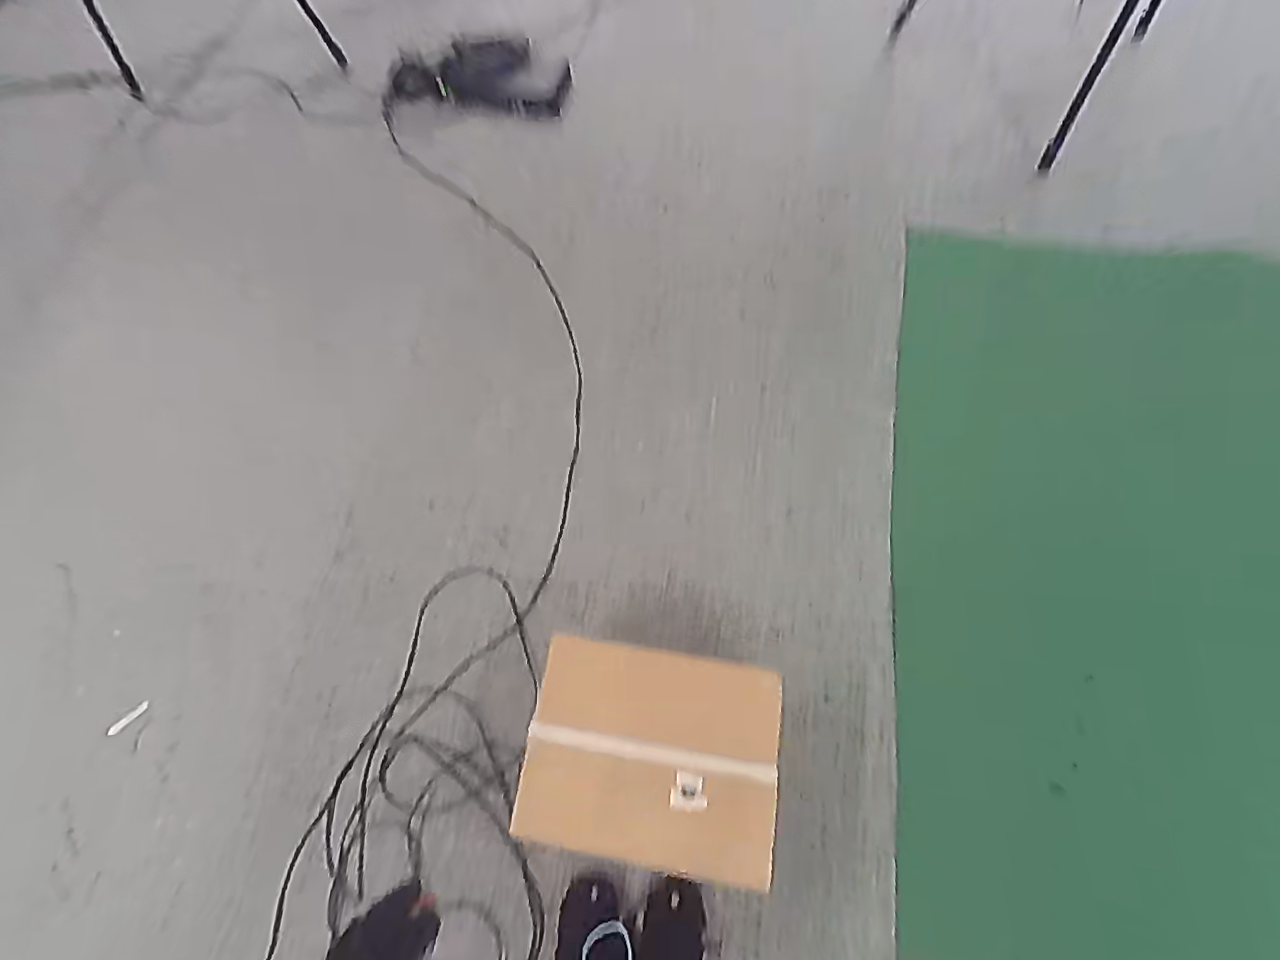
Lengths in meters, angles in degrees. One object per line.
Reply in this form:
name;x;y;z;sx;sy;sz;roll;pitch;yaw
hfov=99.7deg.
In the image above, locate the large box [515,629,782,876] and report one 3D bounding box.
large box;0.025;0.485;1.016;0.408;0.320;0.320;9;69;5
